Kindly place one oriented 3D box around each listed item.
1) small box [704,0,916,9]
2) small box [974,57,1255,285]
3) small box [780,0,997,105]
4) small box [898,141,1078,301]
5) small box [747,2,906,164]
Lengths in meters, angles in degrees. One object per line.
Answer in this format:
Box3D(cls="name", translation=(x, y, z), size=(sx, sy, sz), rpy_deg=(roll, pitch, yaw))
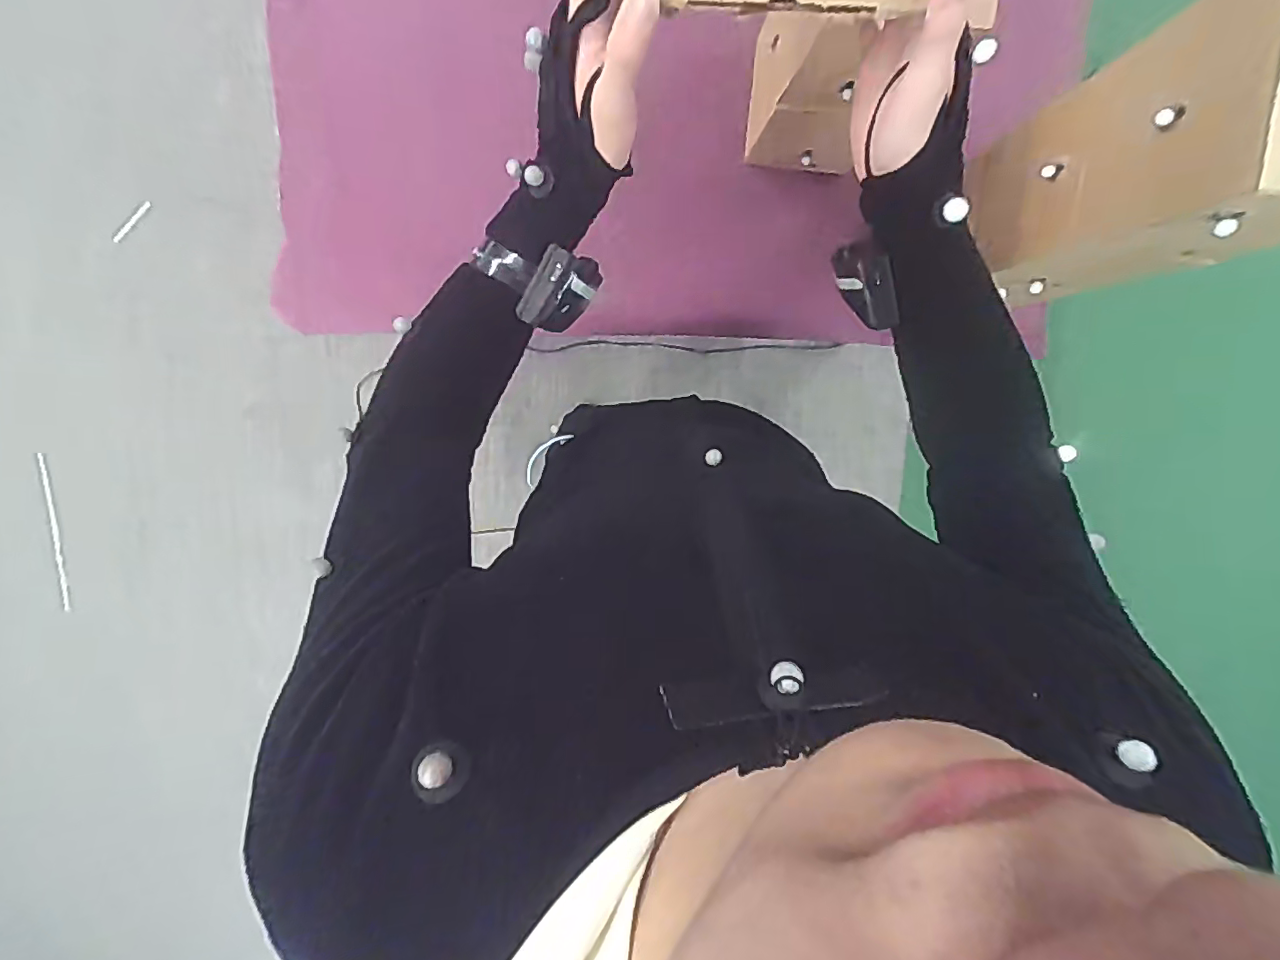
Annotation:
Box3D(cls="small box", translation=(0.071, -0.373, 0.281), size=(0.168, 0.176, 0.179), rpy_deg=(0, 136, -3))
Box3D(cls="small box", translation=(0.531, -0.342, 0.634), size=(0.168, 0.176, 0.179), rpy_deg=(5, 99, -3))
Box3D(cls="small box", translation=(0.259, -0.545, 0.580), size=(0.168, 0.176, 0.179), rpy_deg=(1, 101, -5))
Box3D(cls="small box", translation=(0.518, -0.366, 0.796), size=(0.179, 0.176, 0.168), rpy_deg=(5, 99, -4))
Box3D(cls="small box", translation=(0.254, -0.568, 0.741), size=(0.168, 0.176, 0.179), rpy_deg=(5, 100, -5))
